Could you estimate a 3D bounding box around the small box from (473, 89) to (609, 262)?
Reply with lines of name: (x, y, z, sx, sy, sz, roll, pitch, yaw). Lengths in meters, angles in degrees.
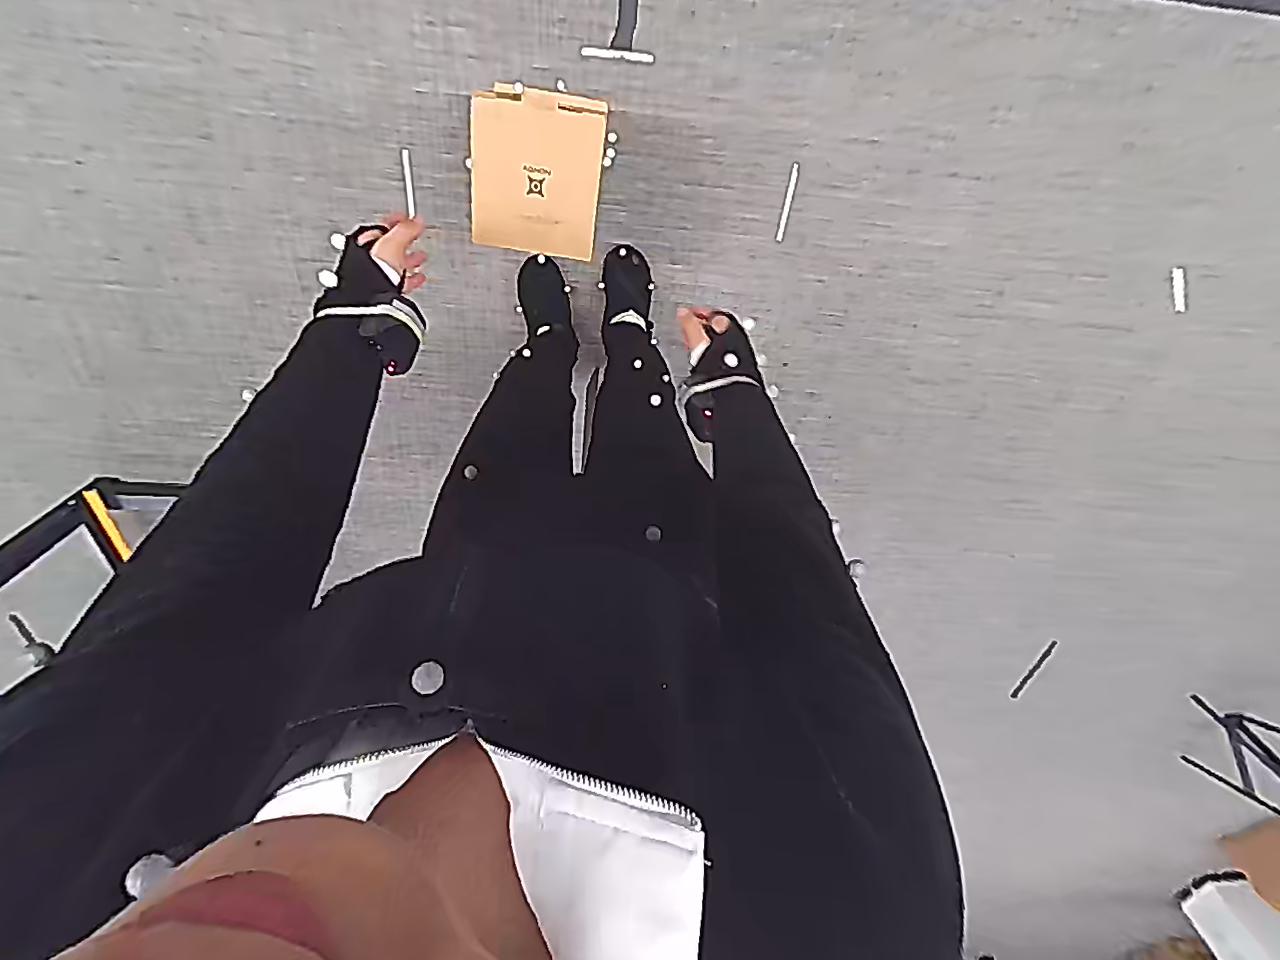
small box: (-0.136, -0.430, 0.761, 0.168, 0.176, 0.179, 7, 126, -7)

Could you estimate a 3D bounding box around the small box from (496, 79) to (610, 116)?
small box: (-0.142, -0.535, 0.886, 0.168, 0.176, 0.179, 6, 125, -7)
